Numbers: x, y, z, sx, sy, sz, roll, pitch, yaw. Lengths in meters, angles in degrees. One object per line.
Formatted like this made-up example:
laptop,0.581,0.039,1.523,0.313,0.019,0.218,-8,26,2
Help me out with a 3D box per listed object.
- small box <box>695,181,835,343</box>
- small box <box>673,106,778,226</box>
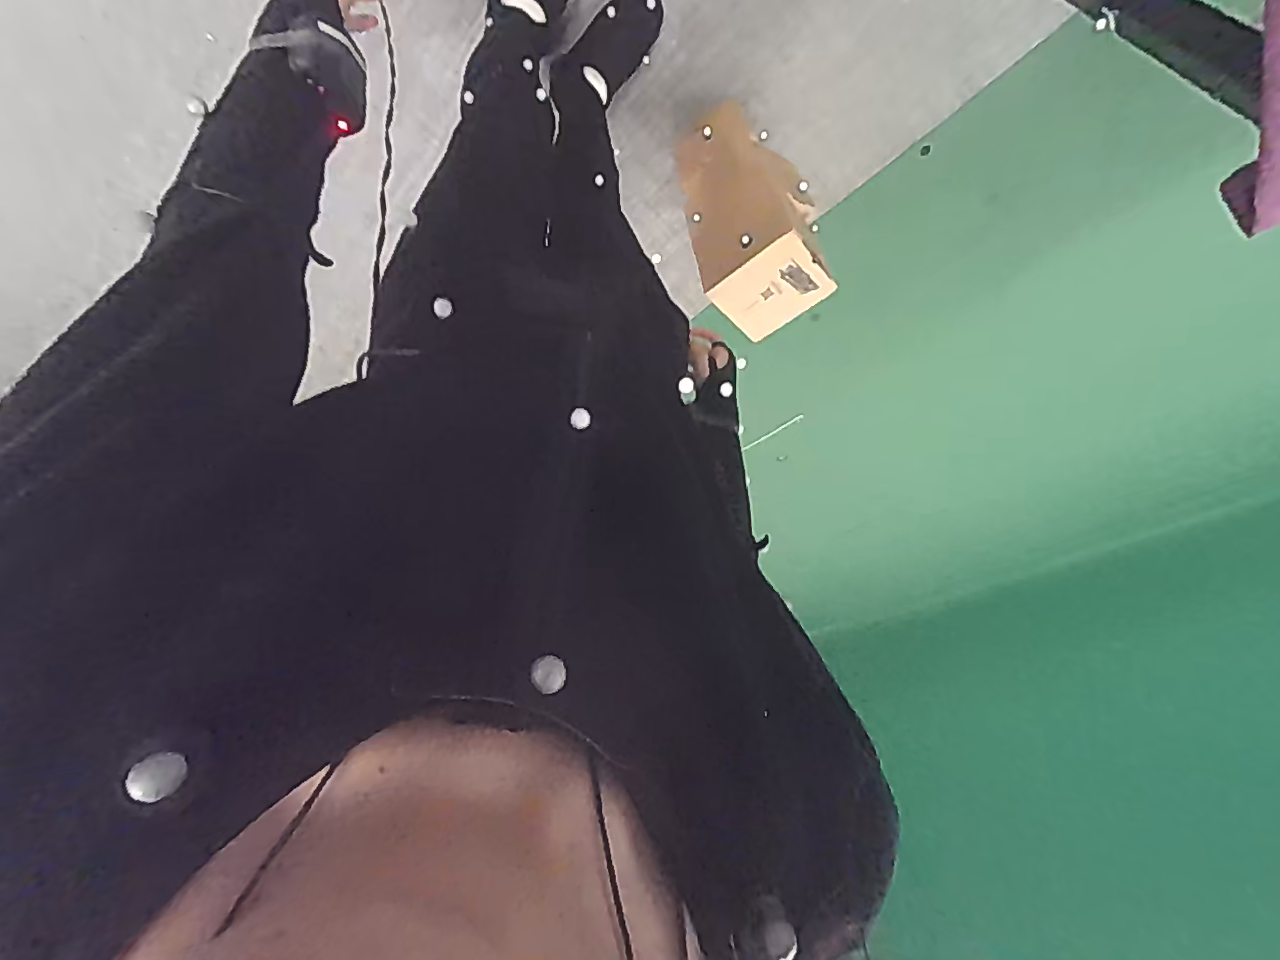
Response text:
small box,0.218,-0.393,0.980,0.179,0.176,0.168,-29,141,32
small box,0.186,-0.663,1.165,0.168,0.176,0.179,-23,142,25
